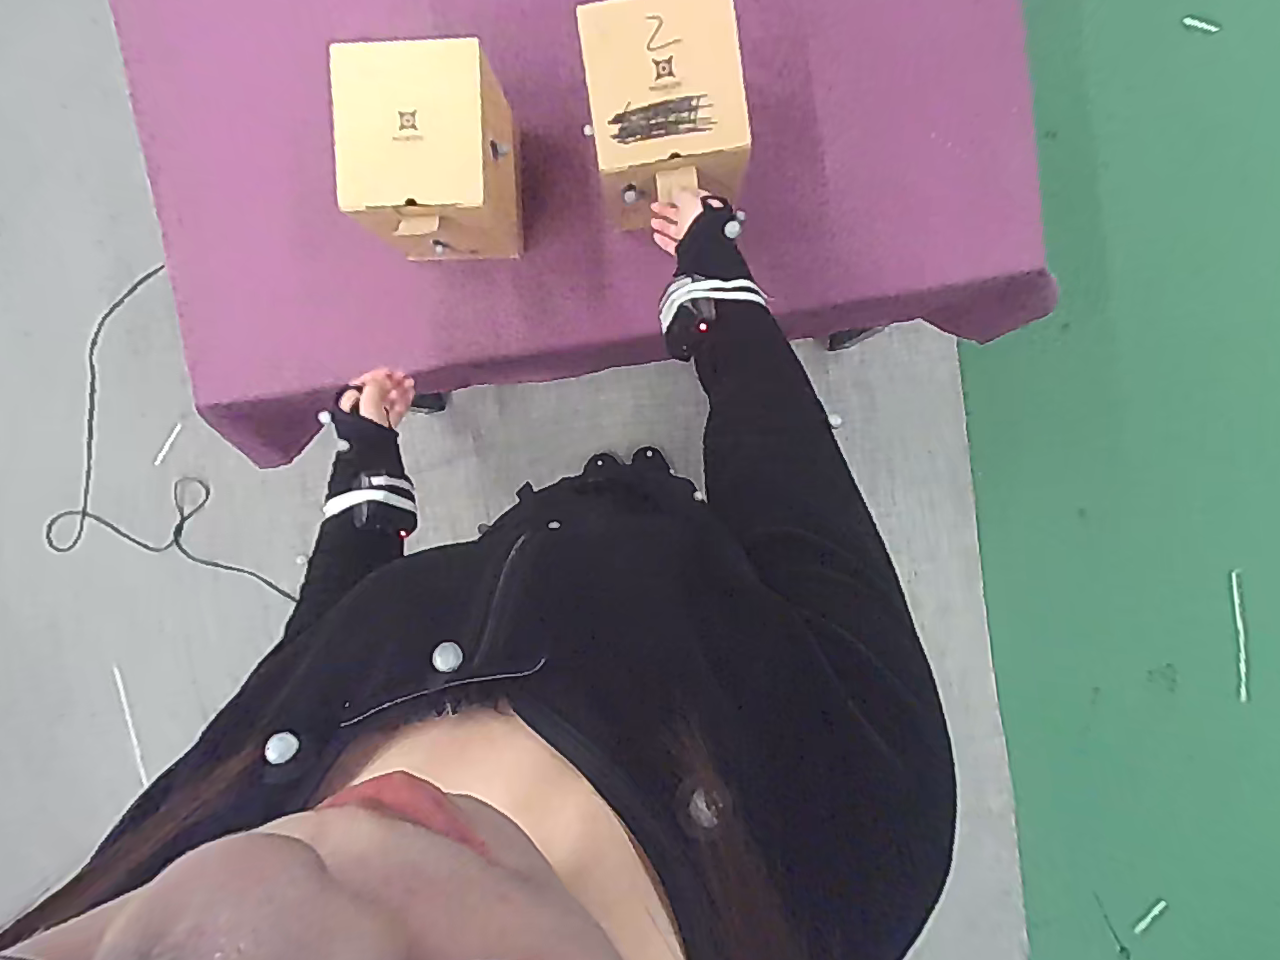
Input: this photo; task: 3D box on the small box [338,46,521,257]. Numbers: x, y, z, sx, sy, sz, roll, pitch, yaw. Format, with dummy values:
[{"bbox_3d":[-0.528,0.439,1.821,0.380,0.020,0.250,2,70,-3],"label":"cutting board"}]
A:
[{"bbox_3d":[-0.251,-0.398,0.682,0.168,0.176,0.179,0,95,2],"label":"small box"}]
